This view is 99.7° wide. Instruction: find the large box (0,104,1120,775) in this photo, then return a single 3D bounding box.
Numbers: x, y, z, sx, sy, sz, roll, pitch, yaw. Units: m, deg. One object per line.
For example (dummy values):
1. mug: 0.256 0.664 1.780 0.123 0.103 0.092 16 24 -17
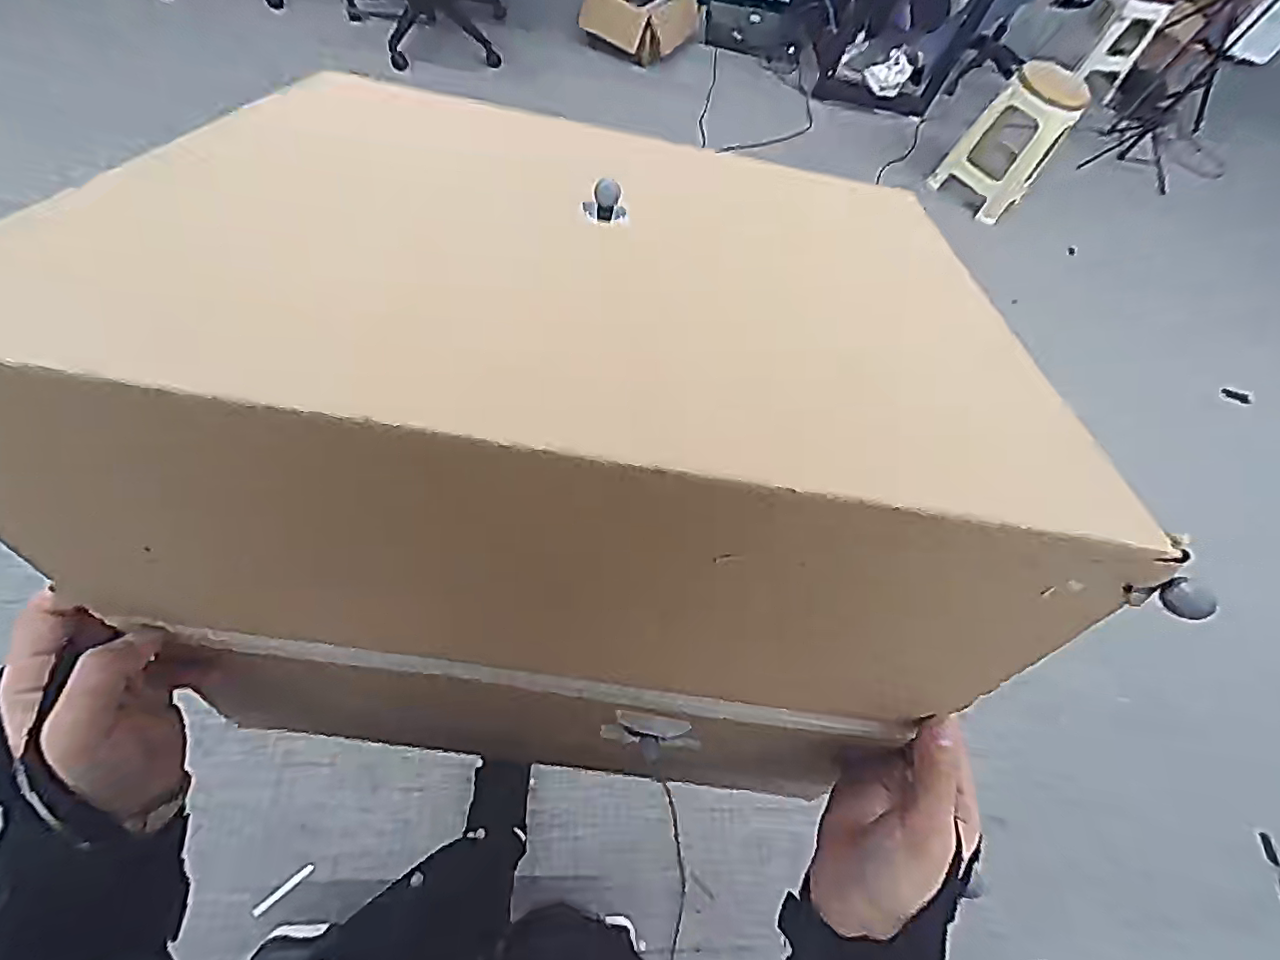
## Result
1. large box: -0.045 -0.020 0.381 0.408 0.320 0.320 9 48 -4
